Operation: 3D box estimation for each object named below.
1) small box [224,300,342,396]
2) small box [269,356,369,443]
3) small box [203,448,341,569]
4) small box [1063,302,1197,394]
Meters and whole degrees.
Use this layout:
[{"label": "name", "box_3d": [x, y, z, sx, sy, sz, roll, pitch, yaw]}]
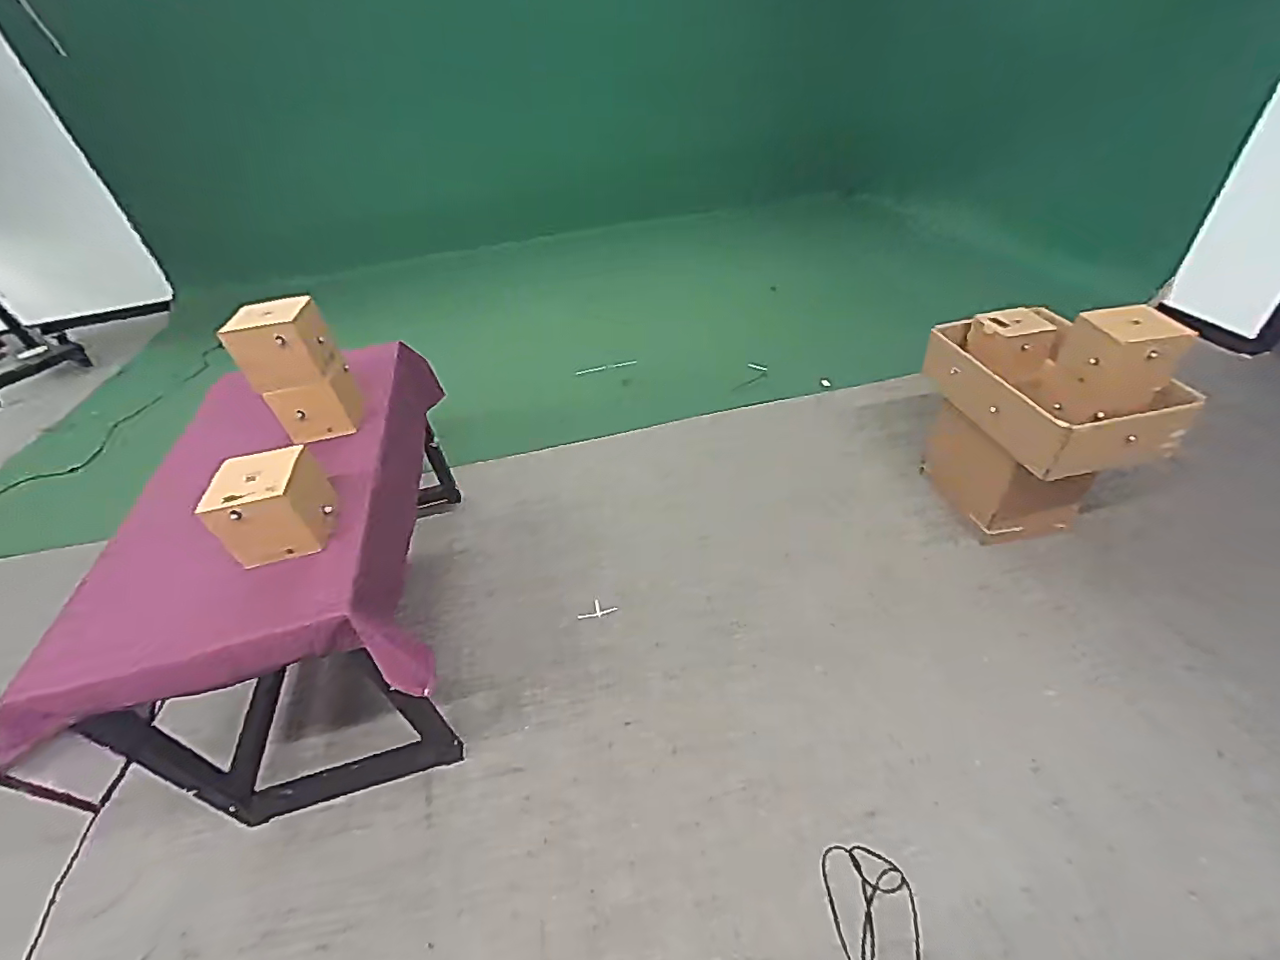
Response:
[{"label": "small box", "box_3d": [-0.906, -0.339, 1.396, 0.179, 0.176, 0.168, -12, 40, -2]}, {"label": "small box", "box_3d": [-0.880, -0.217, 1.504, 0.168, 0.176, 0.179, -13, 40, -4]}, {"label": "small box", "box_3d": [-0.774, 0.061, 1.163, 0.168, 0.176, 0.179, -14, 40, -5]}, {"label": "small box", "box_3d": [1.238, -0.336, 1.391, 0.179, 0.176, 0.168, -7, 42, 1]}]
